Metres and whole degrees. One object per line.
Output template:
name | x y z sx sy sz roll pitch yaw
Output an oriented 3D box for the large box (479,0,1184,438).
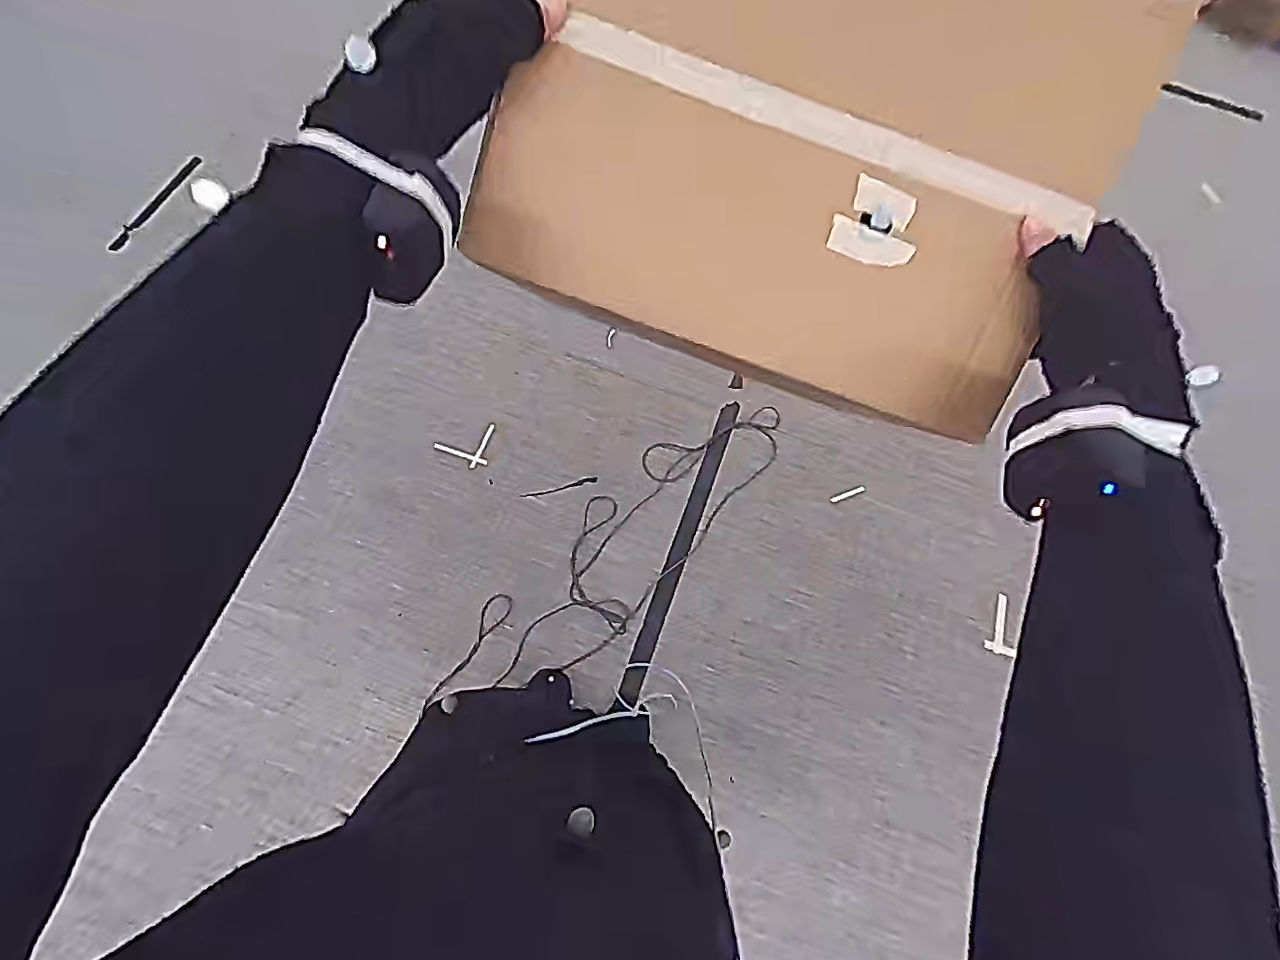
large box | 0.118 -0.266 0.516 0.408 0.320 0.320 19 104 -2
